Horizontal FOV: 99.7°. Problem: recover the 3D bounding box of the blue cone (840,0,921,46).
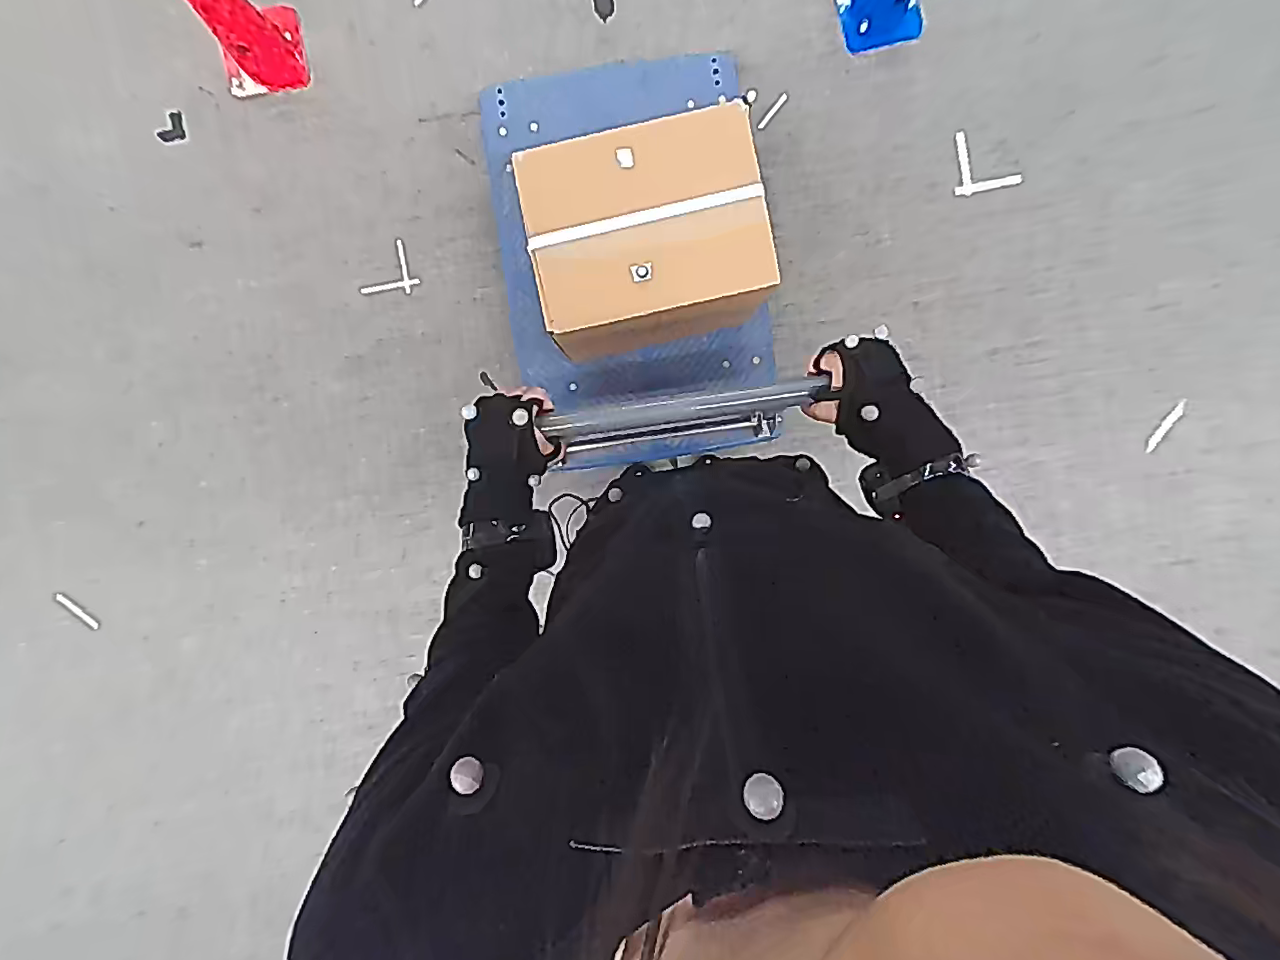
[{"bbox_3d":[0.605,-1.195,1.198,0.193,0.380,0.192,-13,92,0],"label":"blue cone"}]
